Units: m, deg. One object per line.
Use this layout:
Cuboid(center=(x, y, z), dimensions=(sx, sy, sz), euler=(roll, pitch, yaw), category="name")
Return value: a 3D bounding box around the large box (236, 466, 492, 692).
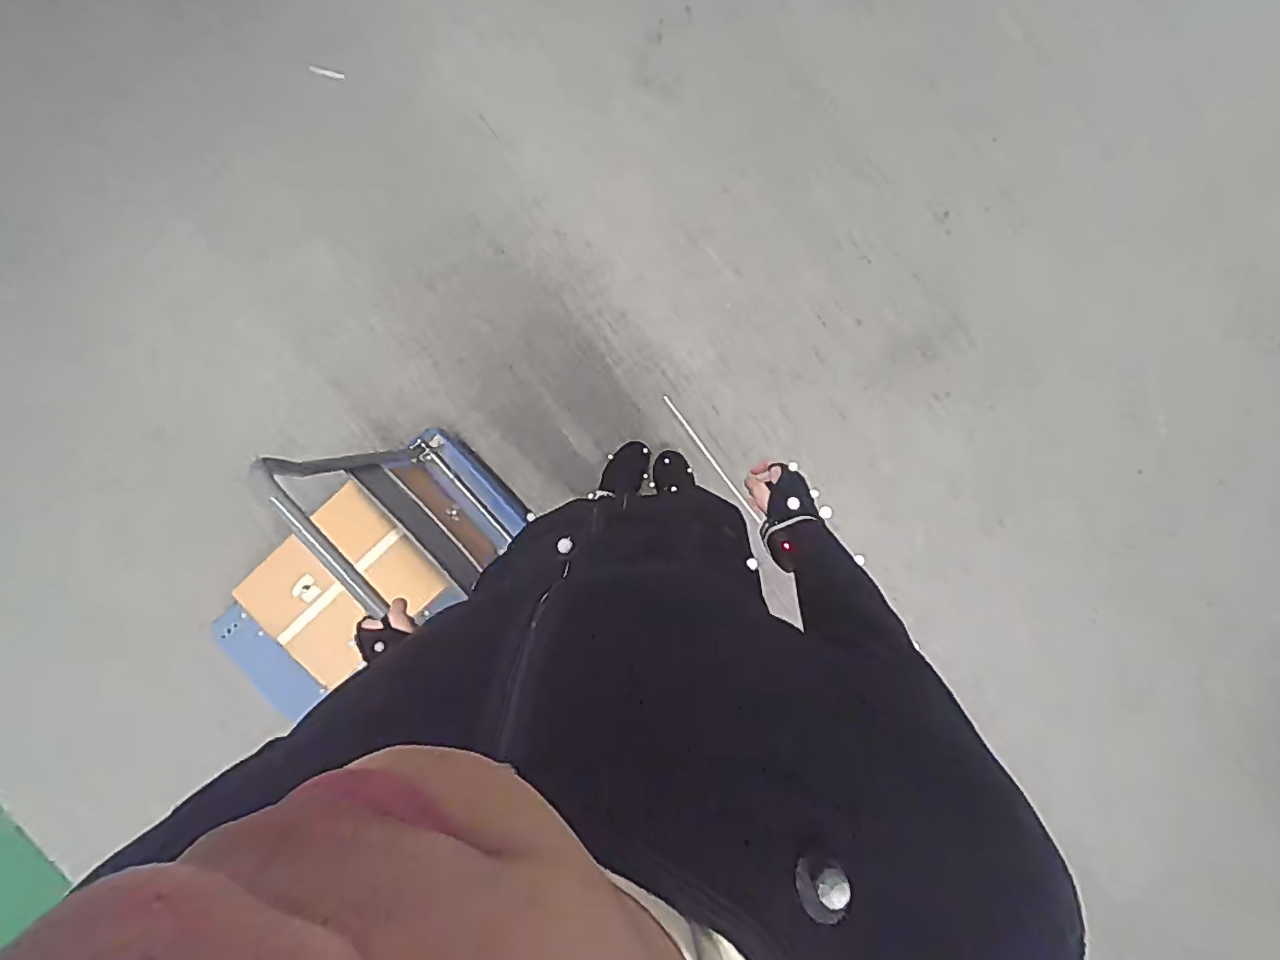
Cuboid(center=(-0.642, 0.217, 1.330), dimensions=(0.408, 0.320, 0.320), euler=(-42, 93, 4), category="large box")
